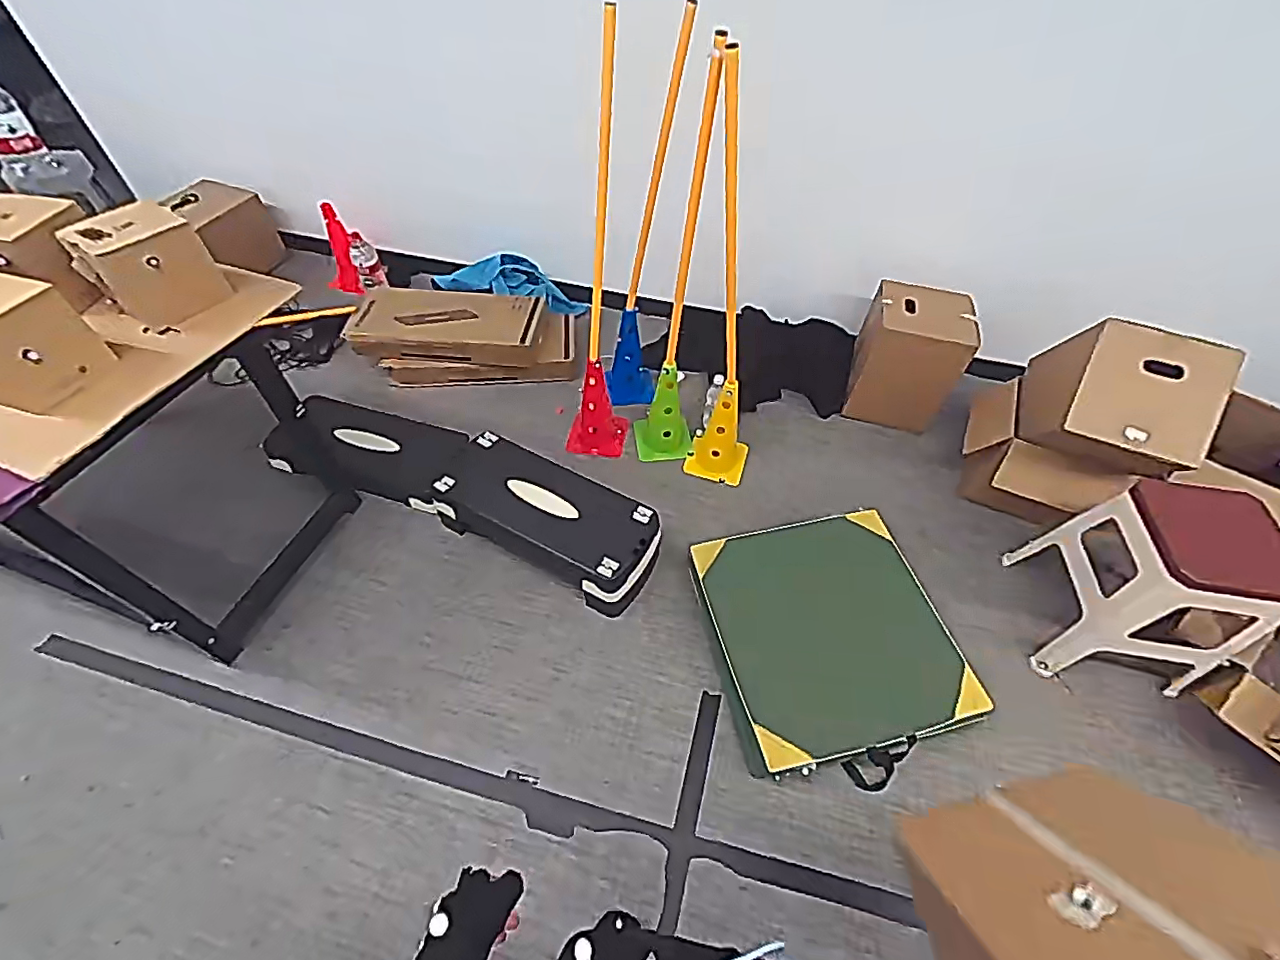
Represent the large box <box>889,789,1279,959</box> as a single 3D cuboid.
[{"bbox_3d":[0.545,0.611,0.589,0.320,0.408,0.320,-18,79,1],"label":"large box"}]
